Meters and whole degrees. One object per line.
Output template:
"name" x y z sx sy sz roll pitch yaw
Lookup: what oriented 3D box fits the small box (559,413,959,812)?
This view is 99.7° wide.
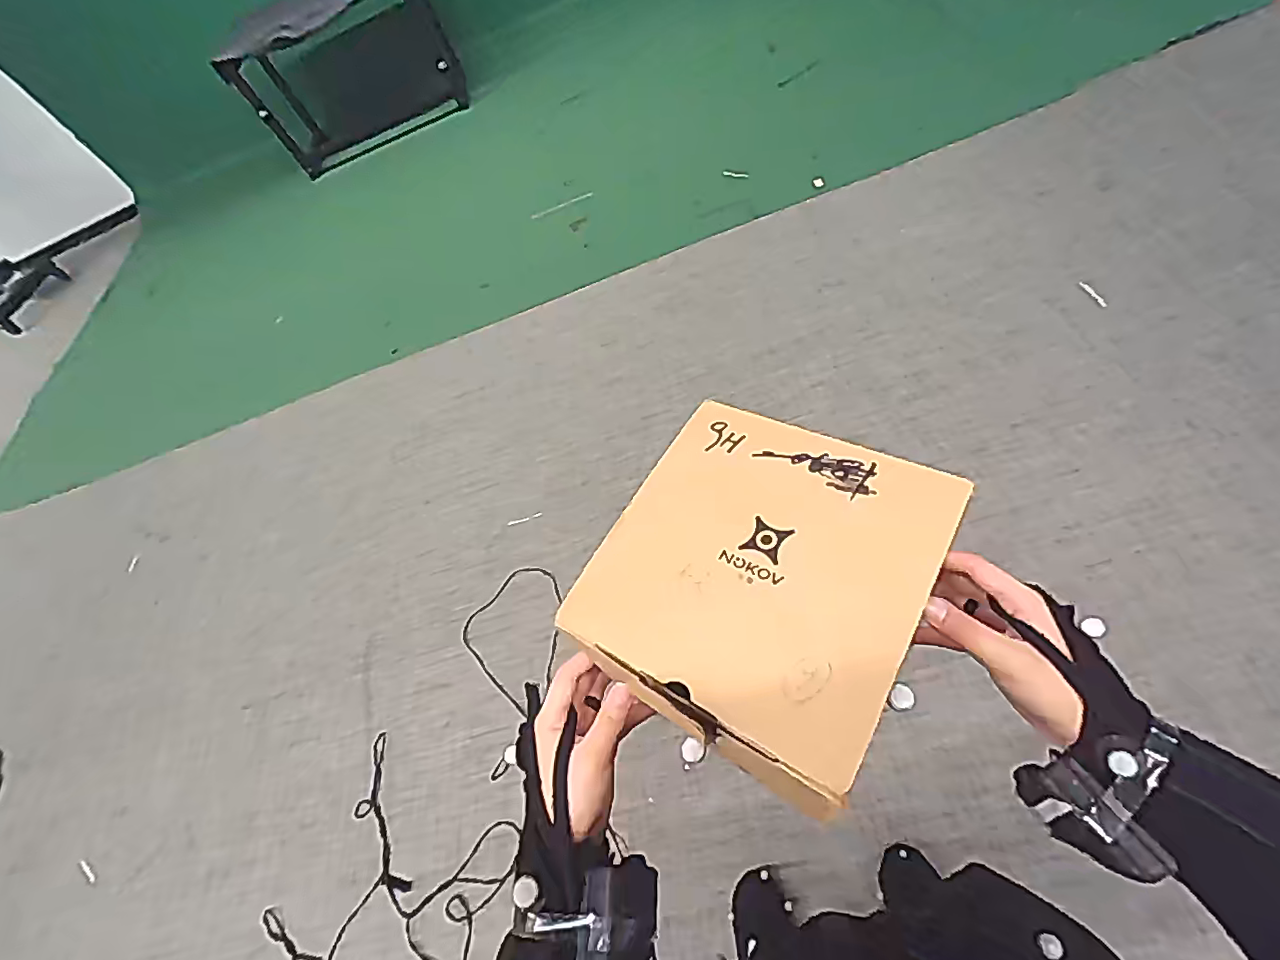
"small box" 0.083 0.091 0.363 0.168 0.176 0.179 23 66 29
